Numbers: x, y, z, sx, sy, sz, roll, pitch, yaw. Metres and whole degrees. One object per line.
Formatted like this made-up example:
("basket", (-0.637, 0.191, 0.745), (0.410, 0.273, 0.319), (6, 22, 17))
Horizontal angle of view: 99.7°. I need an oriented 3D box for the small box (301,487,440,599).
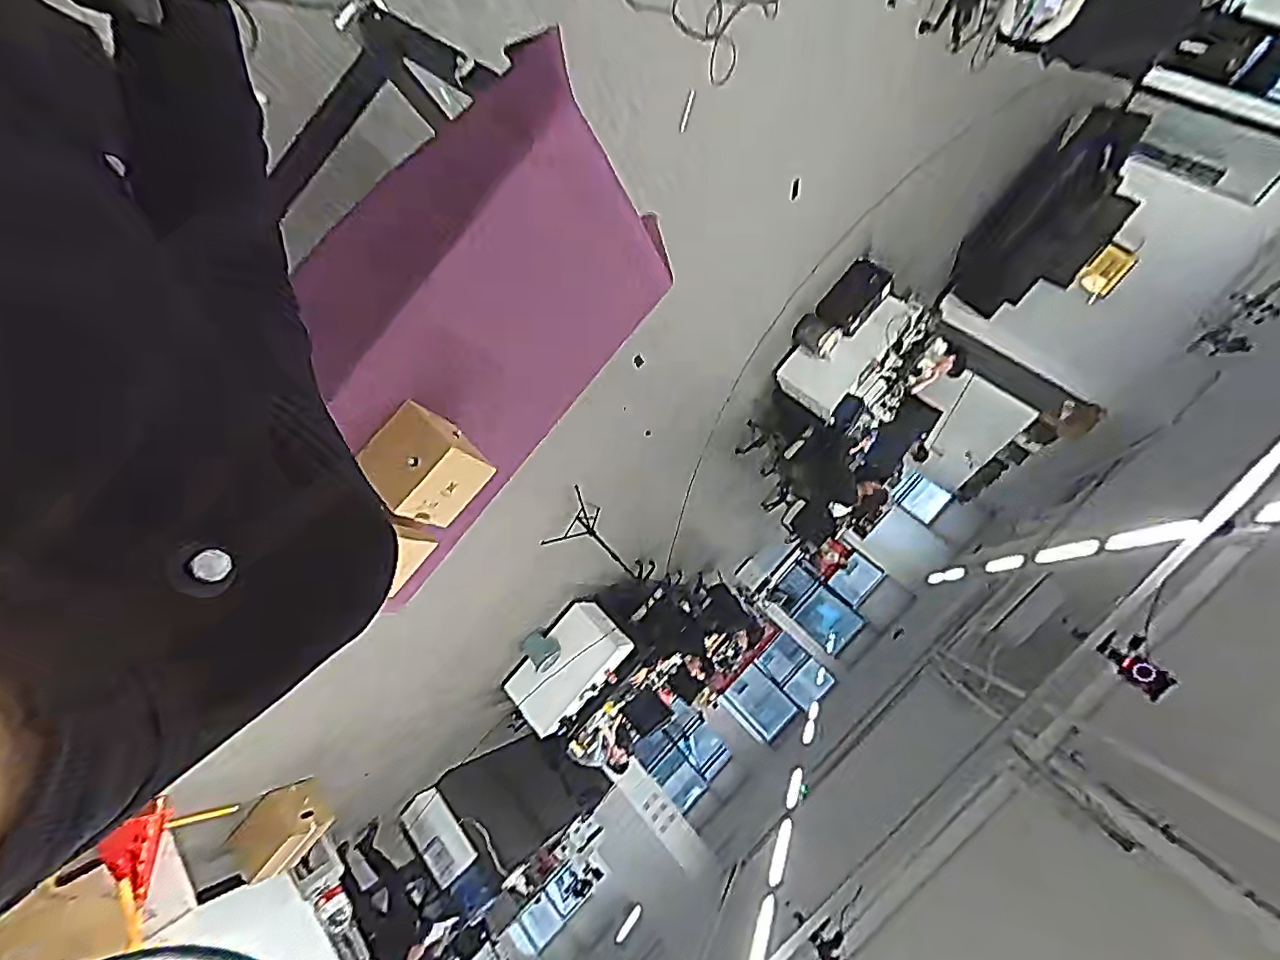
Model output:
("small box", (-0.581, 0.135, 1.164), (0.168, 0.176, 0.179), (-48, 158, 3))
